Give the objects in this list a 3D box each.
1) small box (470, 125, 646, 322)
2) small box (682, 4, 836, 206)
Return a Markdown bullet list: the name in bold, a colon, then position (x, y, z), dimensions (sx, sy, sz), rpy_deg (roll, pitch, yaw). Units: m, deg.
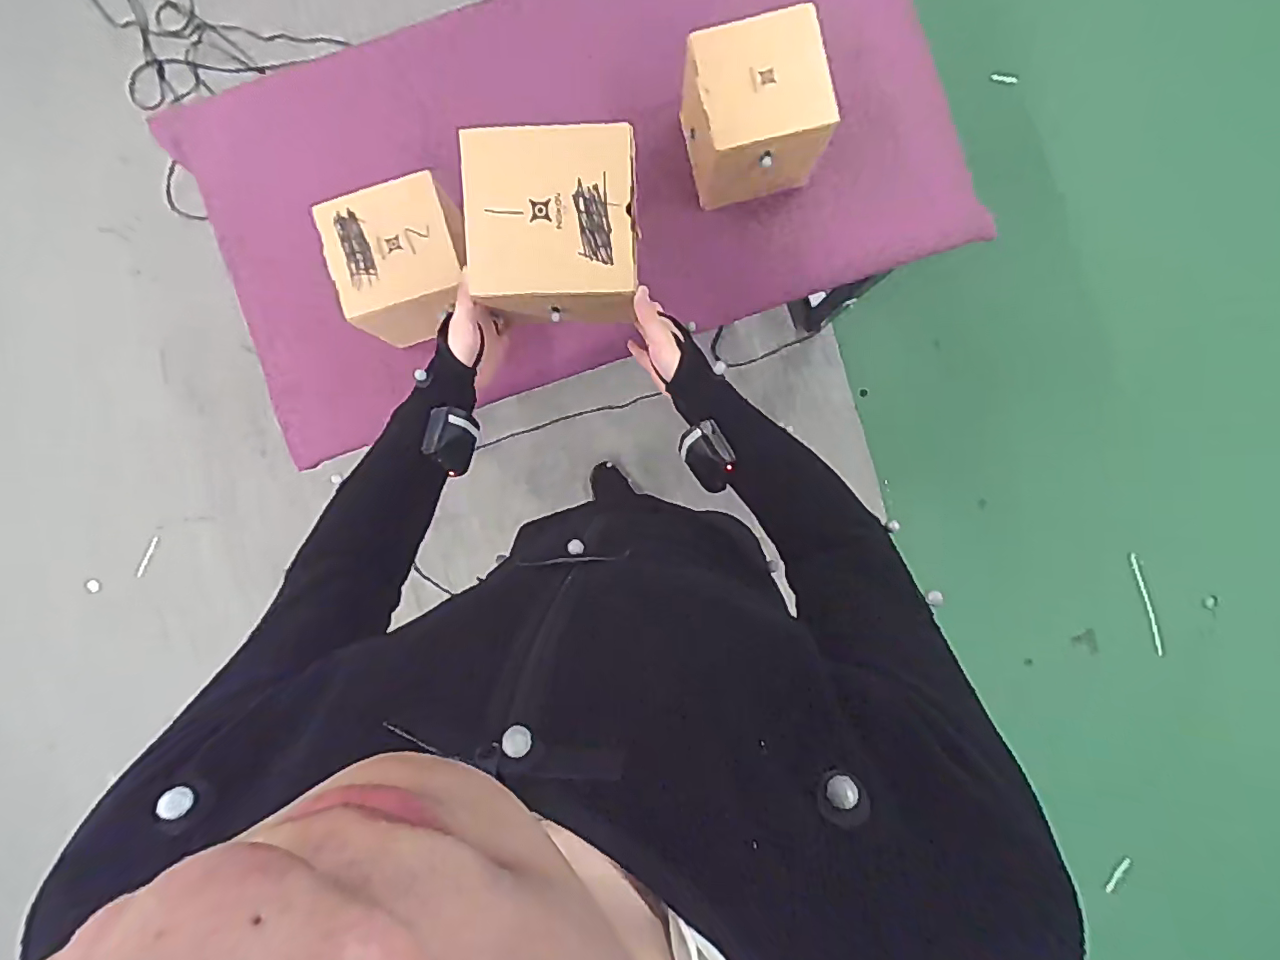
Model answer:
- **small box**: position (-0.082, -0.282, 0.627), dimensions (0.179, 0.176, 0.168), rpy_deg (-1, 97, 1)
- **small box**: position (0.167, -0.546, 0.813), dimensions (0.179, 0.176, 0.168), rpy_deg (-14, 91, 3)
